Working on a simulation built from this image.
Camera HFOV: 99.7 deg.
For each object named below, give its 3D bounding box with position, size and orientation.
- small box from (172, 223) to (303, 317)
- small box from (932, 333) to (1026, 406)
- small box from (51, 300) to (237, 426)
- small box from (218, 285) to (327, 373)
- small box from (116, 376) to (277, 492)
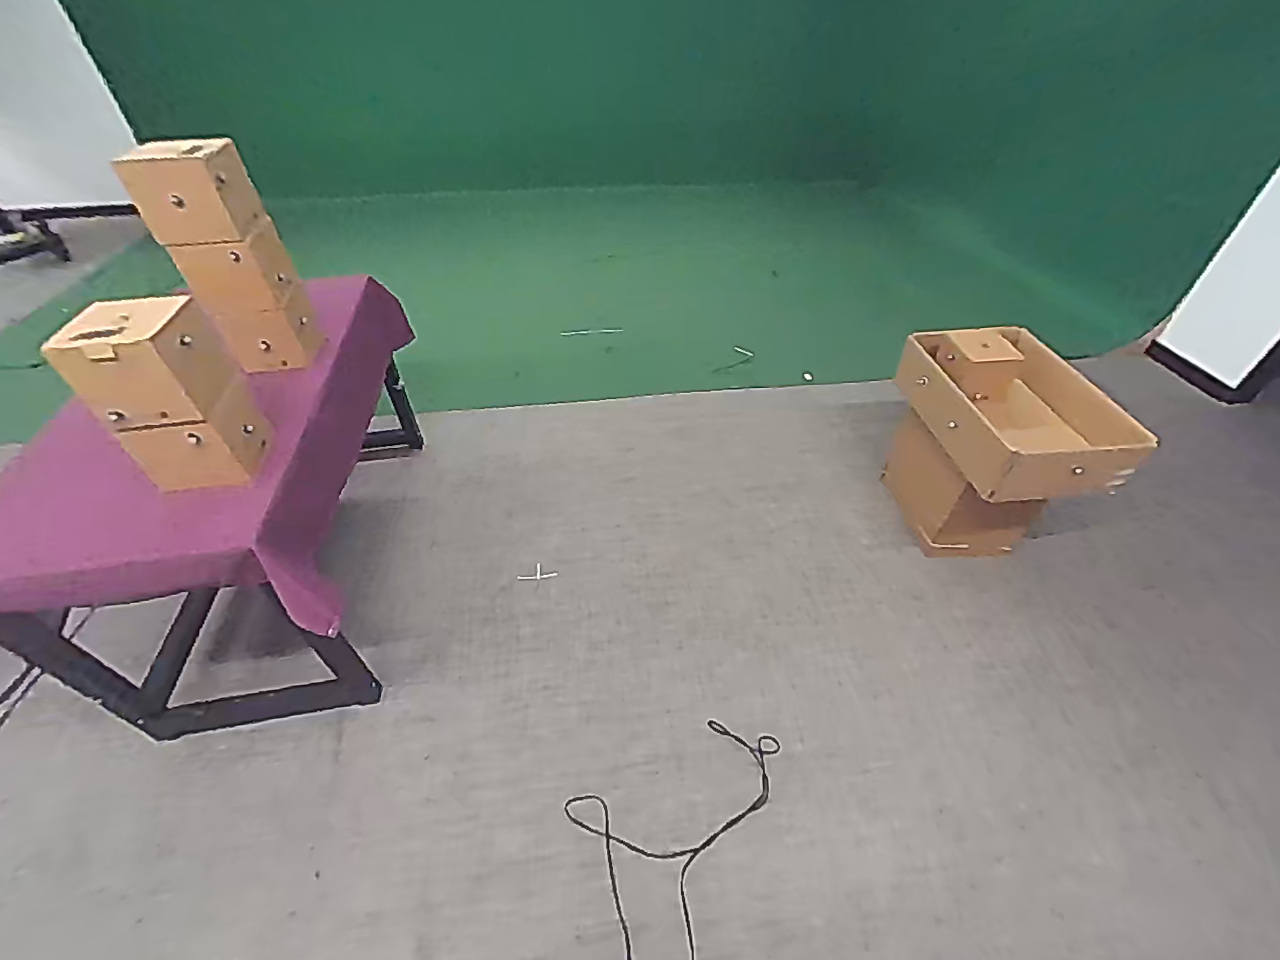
[{"bbox_3d":[-0.976,-0.514,1.330,0.179,0.176,0.168,-7,44,-7],"label":"small box"},{"bbox_3d":[1.073,-0.353,1.731,0.168,0.176,0.179,-4,43,-2],"label":"small box"},{"bbox_3d":[-0.902,-0.213,1.010,0.168,0.176,0.179,-7,43,-7],"label":"small box"},{"bbox_3d":[-0.968,-0.399,1.446,0.168,0.176,0.179,-8,45,-7],"label":"small box"},{"bbox_3d":[-0.901,-0.094,1.124,0.179,0.176,0.168,-7,43,-6],"label":"small box"}]
